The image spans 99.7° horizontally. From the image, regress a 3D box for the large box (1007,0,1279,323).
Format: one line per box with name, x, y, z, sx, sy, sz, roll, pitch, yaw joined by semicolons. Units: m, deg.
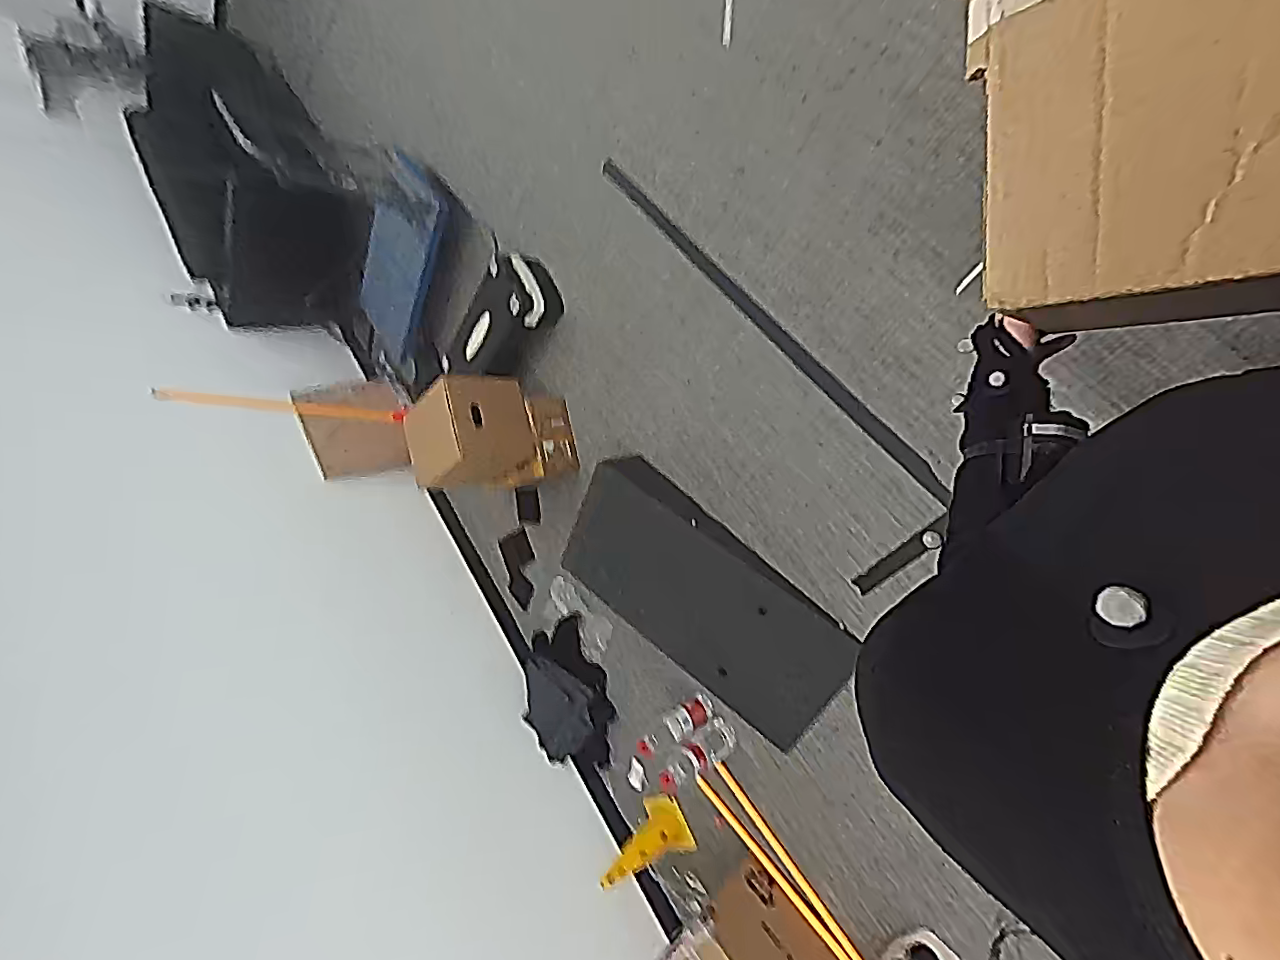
large box;0.437;-0.268;0.260;0.408;0.320;0.320;4;103;40
